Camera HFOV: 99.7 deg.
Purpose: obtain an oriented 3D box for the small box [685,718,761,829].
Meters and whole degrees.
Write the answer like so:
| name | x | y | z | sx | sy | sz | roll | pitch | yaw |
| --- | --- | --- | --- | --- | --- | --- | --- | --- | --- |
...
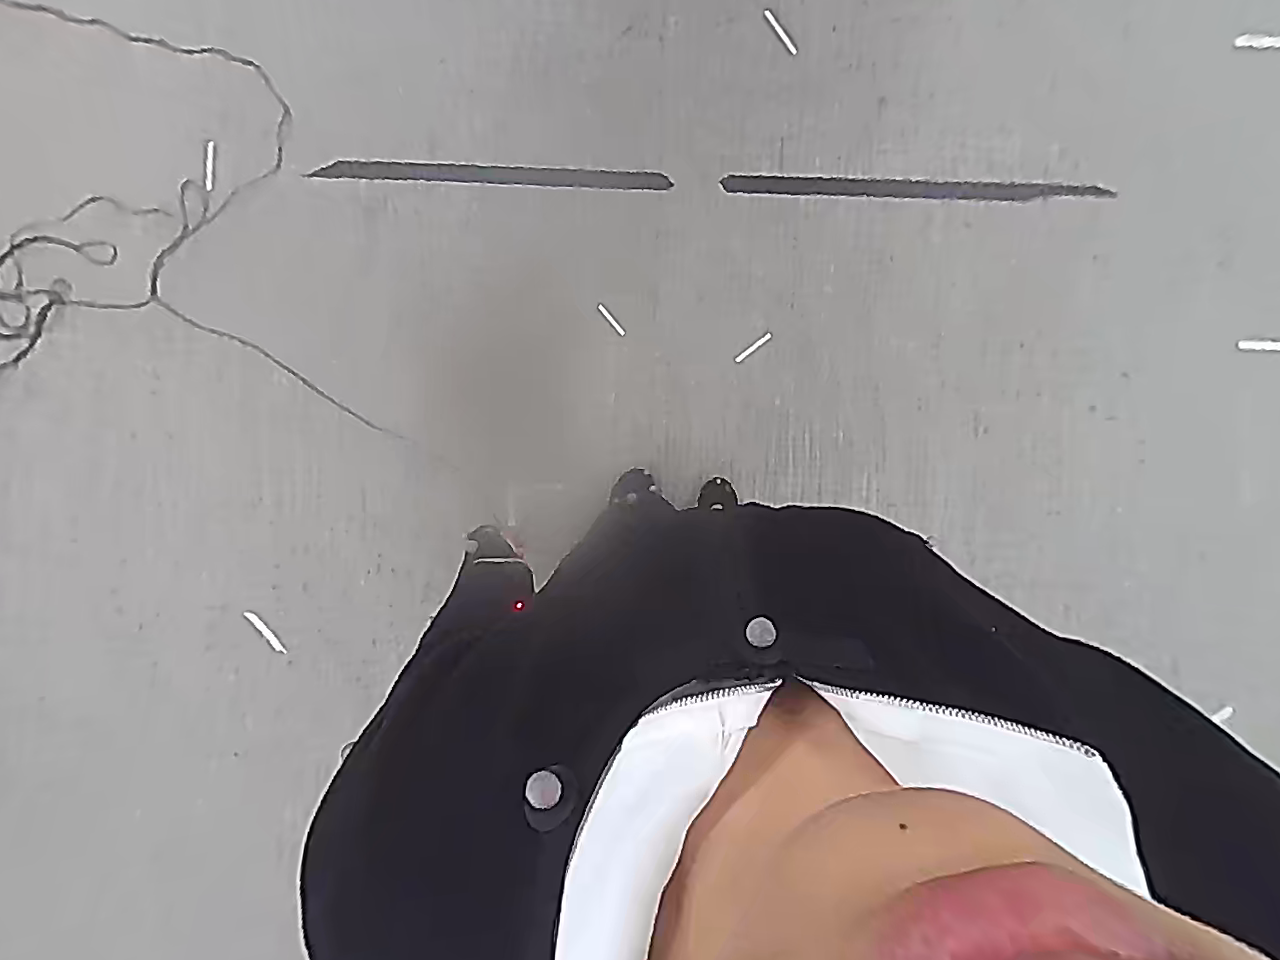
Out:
| name | x | y | z | sx | sy | sz | roll | pitch | yaw |
| --- | --- | --- | --- | --- | --- | --- | --- | --- | --- |
| small box | 0.196 | 0.707 | 1.315 | 0.168 | 0.176 | 0.179 | 1 | 90 | 3 |
